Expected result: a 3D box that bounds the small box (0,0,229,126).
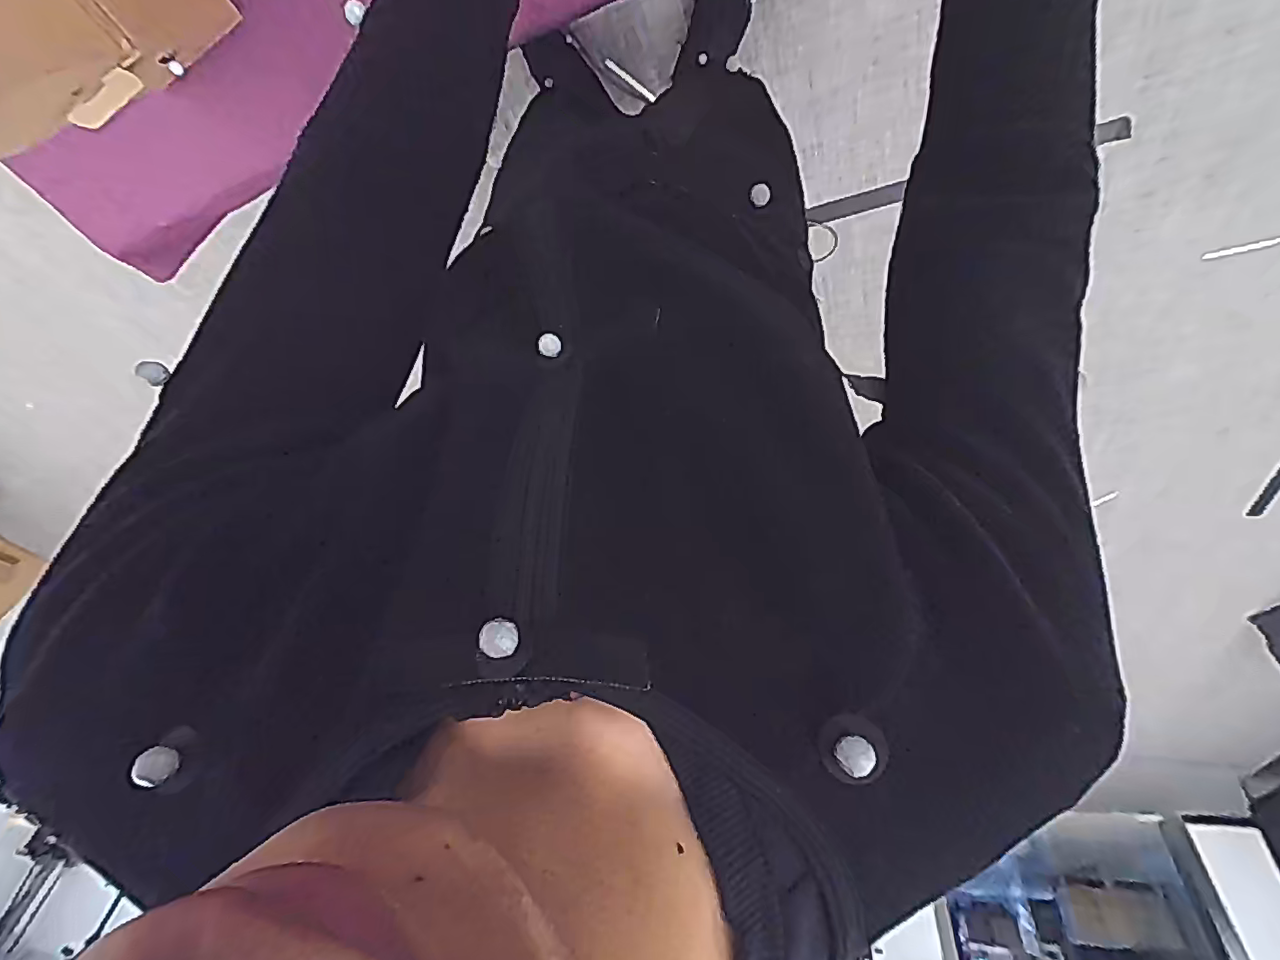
[{"bbox_3d":[-0.554,-0.488,0.514,0.168,0.176,0.179,-13,135,22],"label":"small box"}]
